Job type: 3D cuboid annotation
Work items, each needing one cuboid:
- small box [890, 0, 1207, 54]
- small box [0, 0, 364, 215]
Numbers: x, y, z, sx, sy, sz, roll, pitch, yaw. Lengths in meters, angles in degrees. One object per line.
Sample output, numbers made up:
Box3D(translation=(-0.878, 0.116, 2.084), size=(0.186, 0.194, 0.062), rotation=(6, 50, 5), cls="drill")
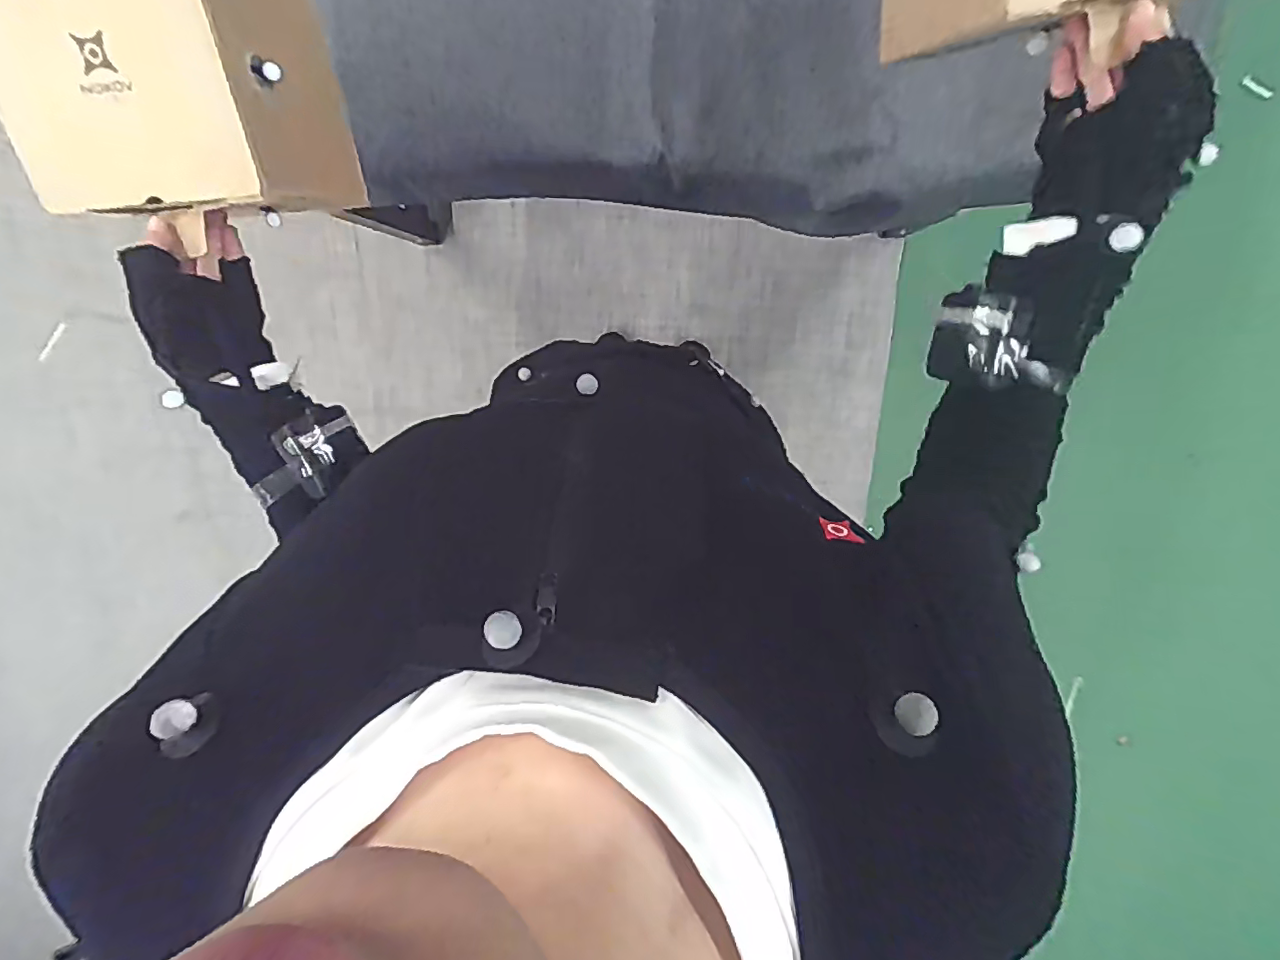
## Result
Box3D(translation=(0.270, -0.382, 0.326), size=(0.168, 0.176, 0.179), rotation=(-10, 121, 2), cls="small box")
Box3D(translation=(-0.348, -0.309, 0.420), size=(0.168, 0.176, 0.179), rotation=(-4, 114, 3), cls="small box")
